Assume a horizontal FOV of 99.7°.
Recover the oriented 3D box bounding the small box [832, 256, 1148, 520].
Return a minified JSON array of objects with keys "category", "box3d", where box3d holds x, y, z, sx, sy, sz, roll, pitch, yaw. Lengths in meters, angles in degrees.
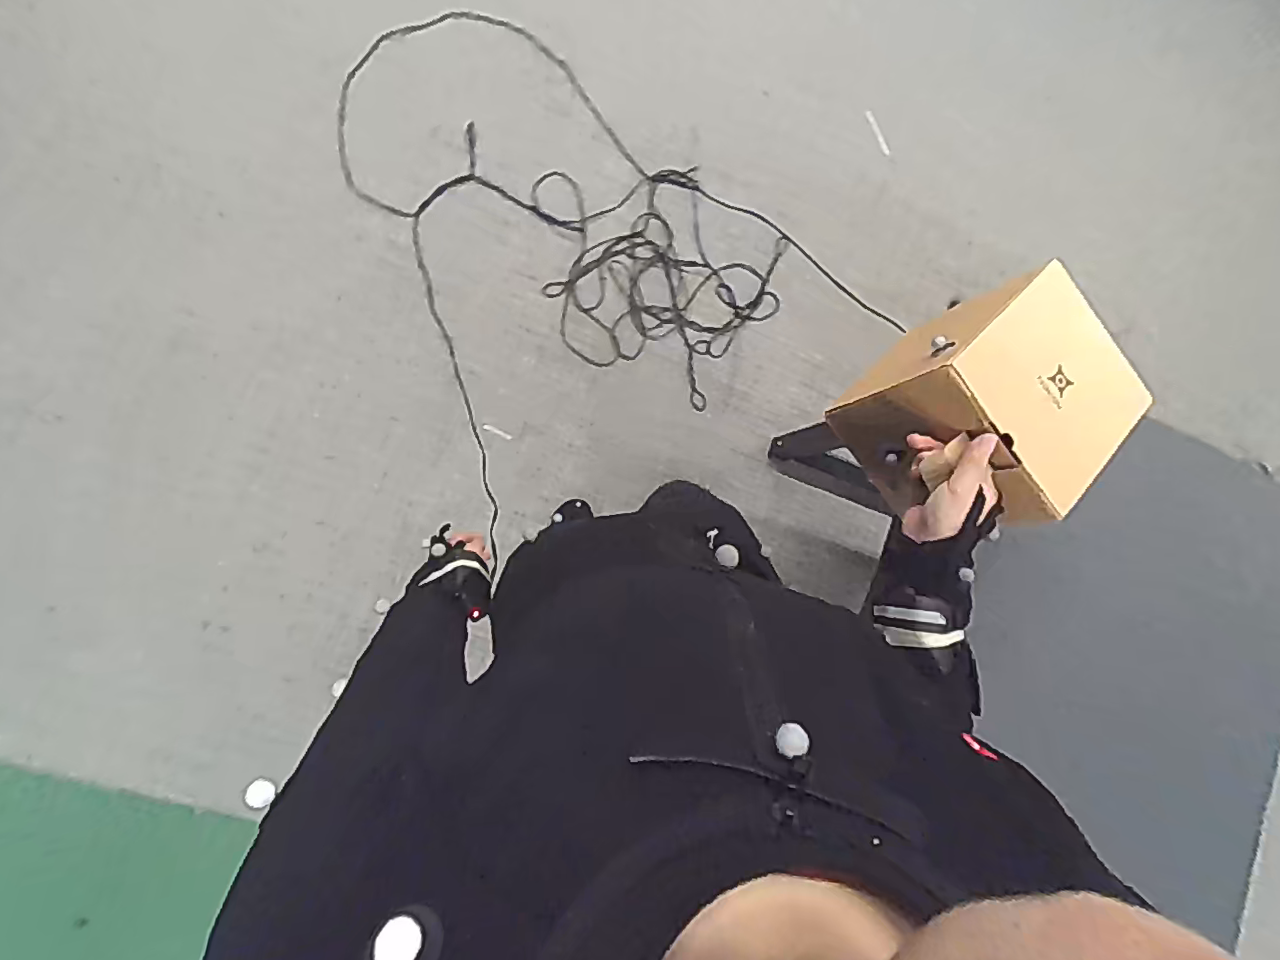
[{"category":"small box","box3d":[0.332,-0.077,0.538,0.179,0.176,0.168,-42,96,-17]}]
